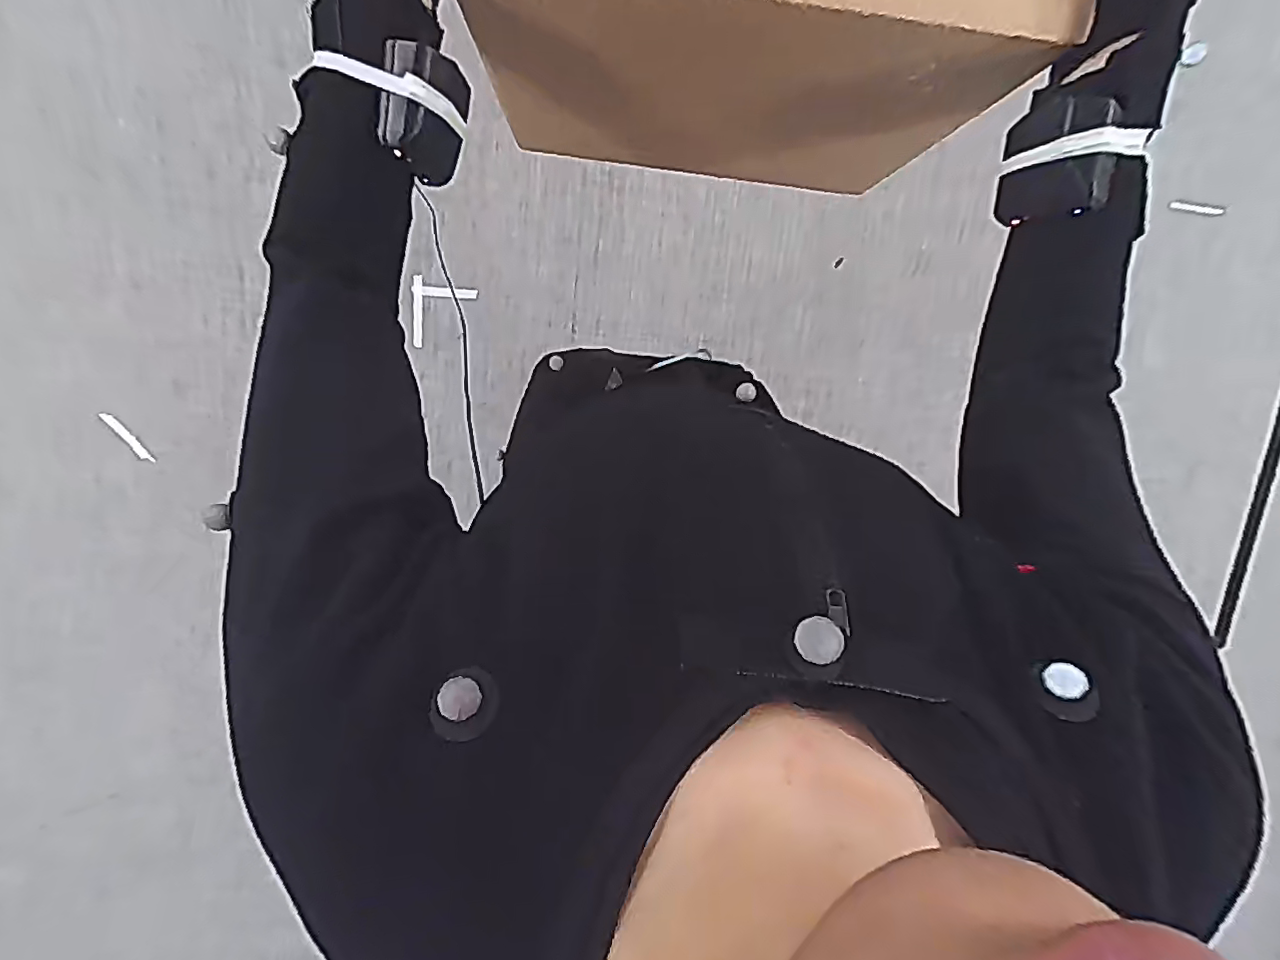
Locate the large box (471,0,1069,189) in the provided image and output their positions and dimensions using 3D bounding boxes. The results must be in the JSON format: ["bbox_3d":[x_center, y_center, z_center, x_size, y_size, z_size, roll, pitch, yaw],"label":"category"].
[{"bbox_3d":[0.083,-0.477,0.458,0.408,0.320,0.320,5,102,-5],"label":"large box"}]
